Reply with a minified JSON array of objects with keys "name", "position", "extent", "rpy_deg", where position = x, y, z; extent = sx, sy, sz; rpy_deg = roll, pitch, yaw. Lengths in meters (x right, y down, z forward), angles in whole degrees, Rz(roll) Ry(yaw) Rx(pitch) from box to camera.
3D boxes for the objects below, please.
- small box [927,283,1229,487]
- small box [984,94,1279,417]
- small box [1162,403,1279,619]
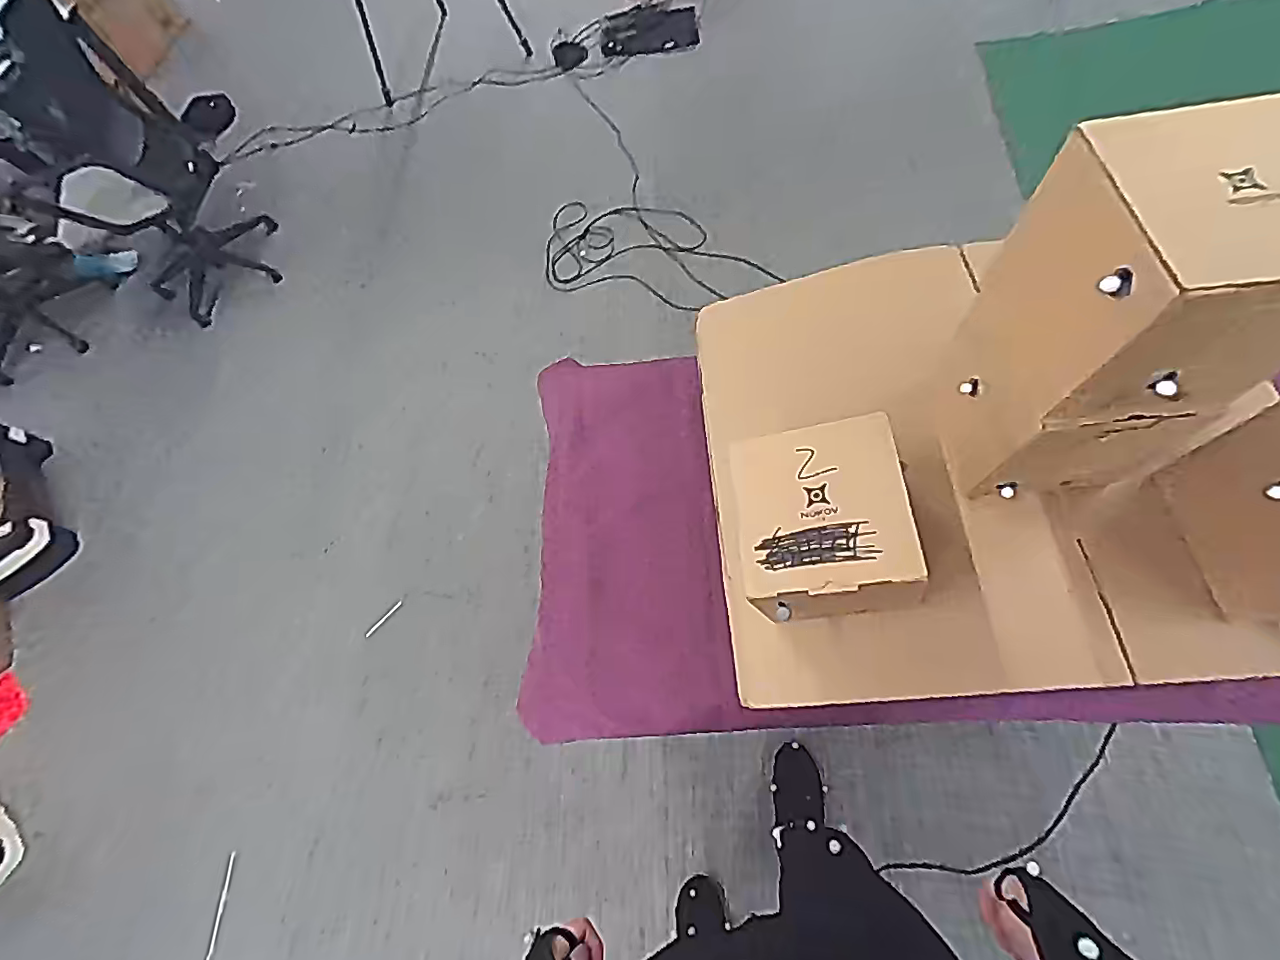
[{"name":"small box","position":[0.448,-0.101,0.593],"extent":[0.168,0.176,0.179],"rpy_deg":[-5,64,3]},{"name":"small box","position":[0.428,-0.174,0.450],"extent":[0.168,0.176,0.179],"rpy_deg":[-6,66,3]},{"name":"small box","position":[0.667,0.025,0.511],"extent":[0.168,0.176,0.179],"rpy_deg":[-5,66,5]}]
